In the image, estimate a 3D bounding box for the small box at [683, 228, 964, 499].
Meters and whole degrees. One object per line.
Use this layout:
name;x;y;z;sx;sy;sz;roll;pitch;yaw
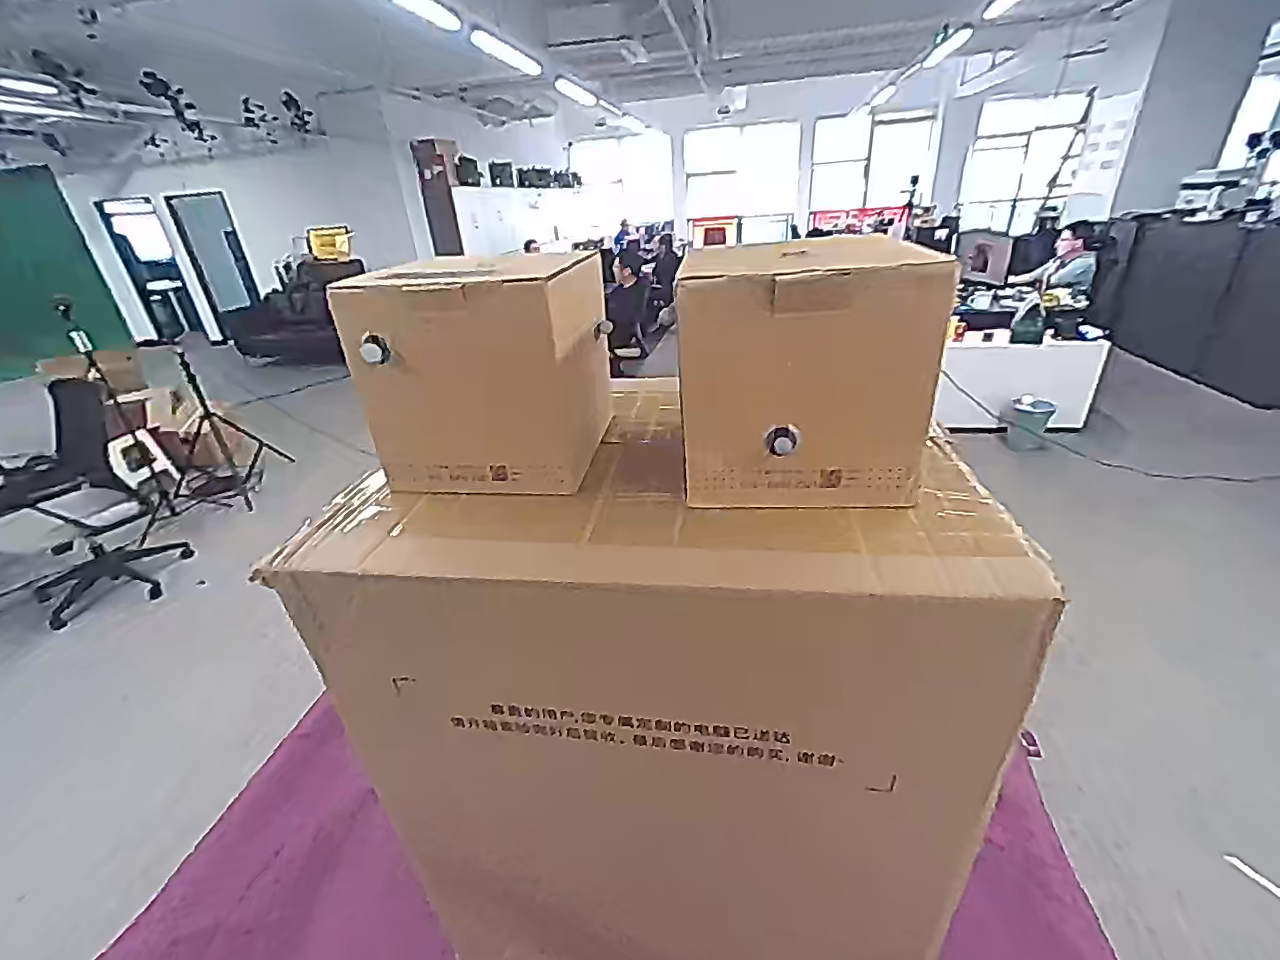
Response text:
small box;0.123;-0.099;0.432;0.168;0.176;0.179;-1;29;8
